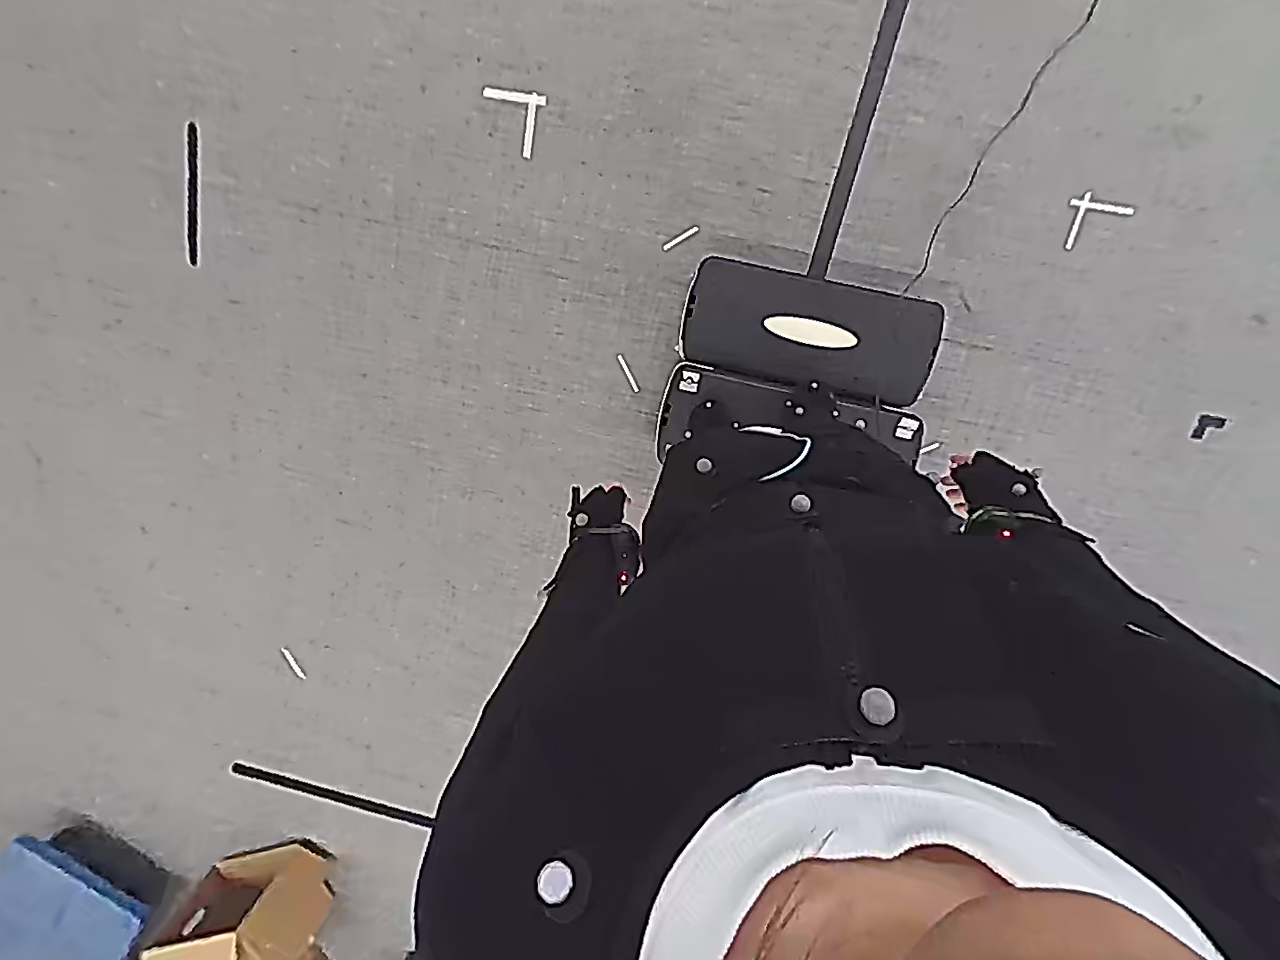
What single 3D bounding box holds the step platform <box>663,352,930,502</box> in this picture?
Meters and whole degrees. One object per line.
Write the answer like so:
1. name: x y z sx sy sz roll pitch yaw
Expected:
1. step platform: 0.409 -0.150 1.487 0.684 0.204 0.286 12 103 4
